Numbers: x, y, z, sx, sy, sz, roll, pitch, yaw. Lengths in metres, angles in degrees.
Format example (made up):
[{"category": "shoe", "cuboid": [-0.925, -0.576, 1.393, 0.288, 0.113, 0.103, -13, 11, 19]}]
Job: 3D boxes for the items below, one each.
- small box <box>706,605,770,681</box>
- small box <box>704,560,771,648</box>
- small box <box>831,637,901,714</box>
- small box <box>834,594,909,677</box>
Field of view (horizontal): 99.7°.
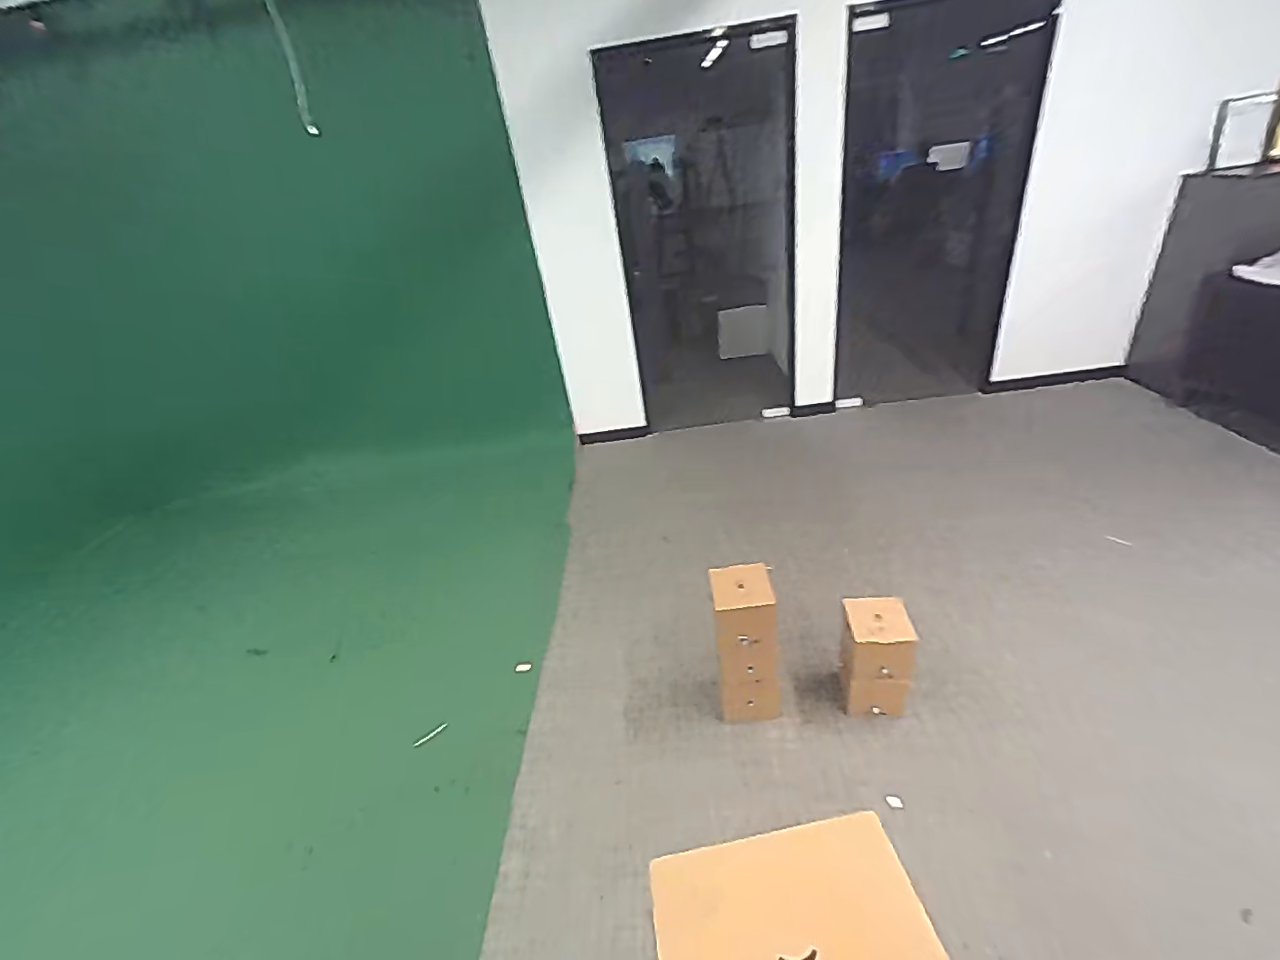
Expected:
[{"category": "small box", "cuboid": [0.301, 0.496, 1.659, 0.168, 0.176, 0.179, -8, 31, 2]}, {"category": "small box", "cuboid": [0.282, 0.360, 1.572, 0.168, 0.176, 0.179, -9, 31, 4]}, {"category": "small box", "cuboid": [0.702, 0.605, 1.698, 0.168, 0.176, 0.179, -3, 32, 10]}, {"category": "small box", "cuboid": [0.683, 0.463, 1.616, 0.168, 0.176, 0.179, -4, 31, 9]}]
